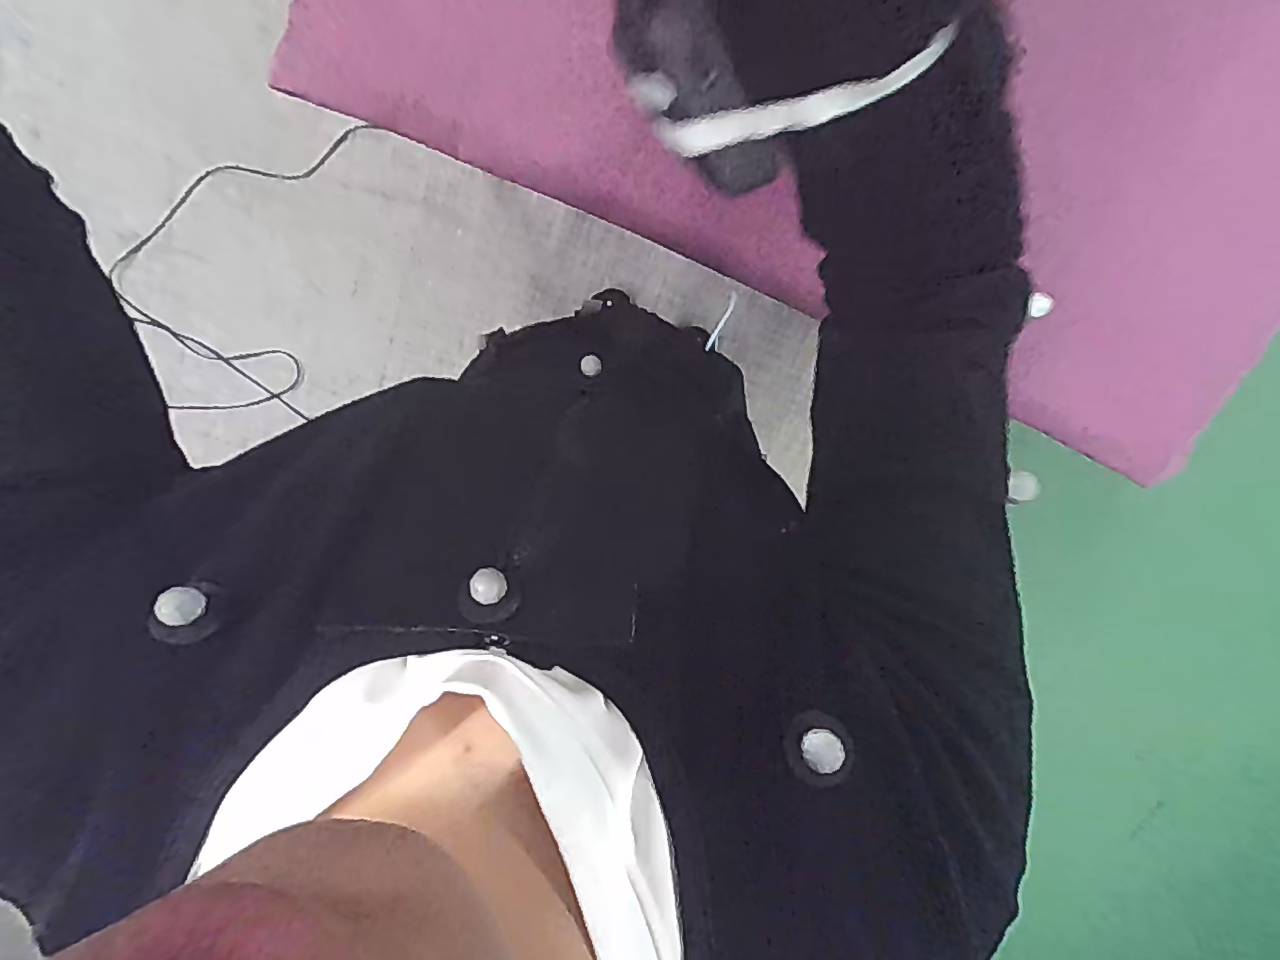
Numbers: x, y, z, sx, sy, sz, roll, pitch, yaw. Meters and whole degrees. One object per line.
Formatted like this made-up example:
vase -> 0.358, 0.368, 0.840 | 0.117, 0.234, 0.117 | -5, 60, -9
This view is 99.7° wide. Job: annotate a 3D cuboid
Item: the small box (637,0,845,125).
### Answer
small box -> 0.103, -0.470, 0.498 | 0.168, 0.176, 0.179 | 23, 106, -10
